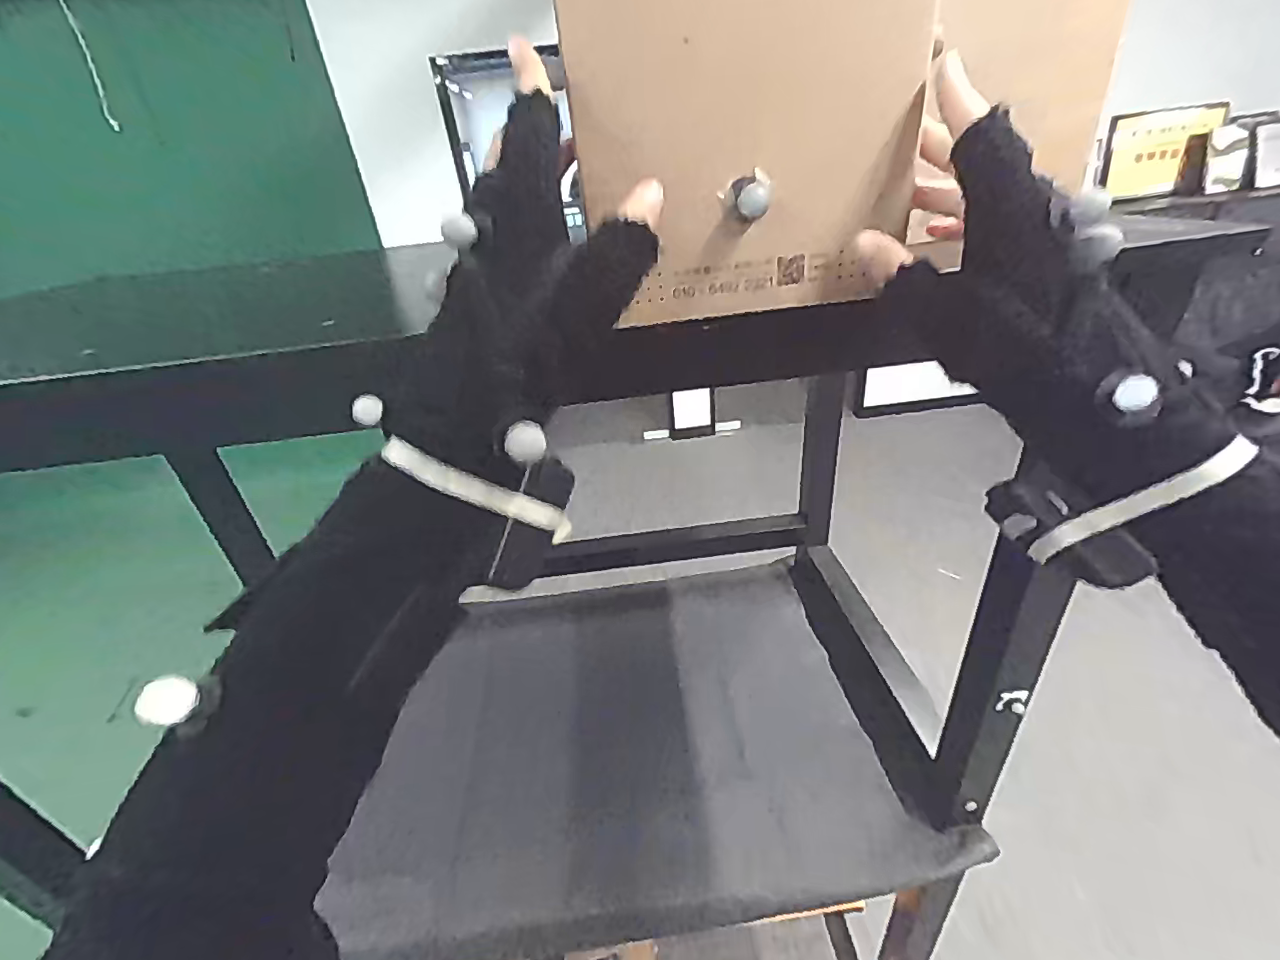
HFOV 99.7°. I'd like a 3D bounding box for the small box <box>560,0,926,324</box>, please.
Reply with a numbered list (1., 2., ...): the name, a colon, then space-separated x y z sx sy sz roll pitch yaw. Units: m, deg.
1. small box: 0.047 -0.204 0.338 0.168 0.176 0.179 -7 30 1
